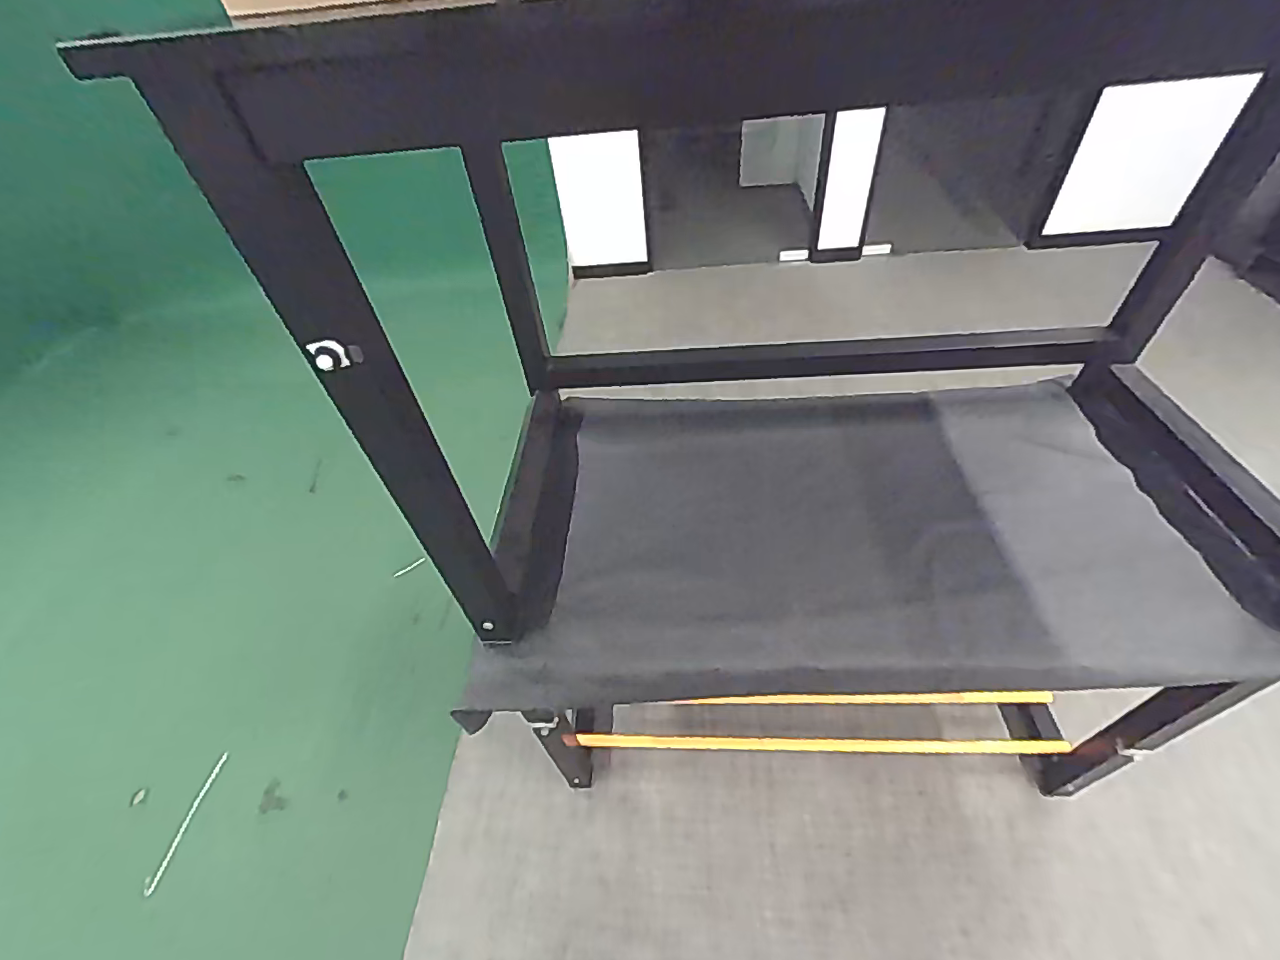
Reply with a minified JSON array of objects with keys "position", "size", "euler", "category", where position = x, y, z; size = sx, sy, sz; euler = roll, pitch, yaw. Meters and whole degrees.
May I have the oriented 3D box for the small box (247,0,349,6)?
[{"position":[-0.191,-0.421,0.343],"size":[0.168,0.176,0.179],"euler":[-6,46,0],"category":"small box"}]
